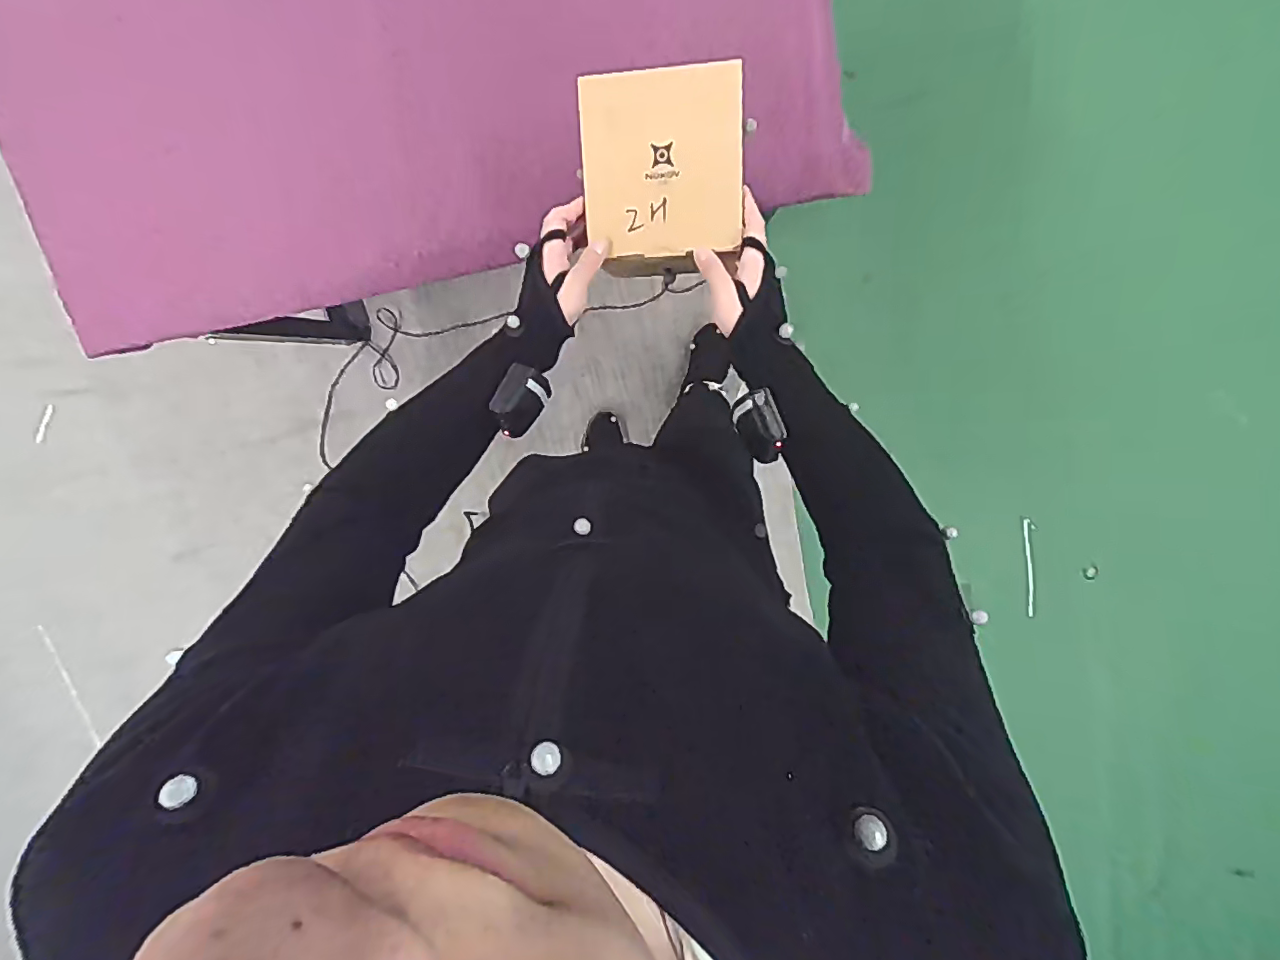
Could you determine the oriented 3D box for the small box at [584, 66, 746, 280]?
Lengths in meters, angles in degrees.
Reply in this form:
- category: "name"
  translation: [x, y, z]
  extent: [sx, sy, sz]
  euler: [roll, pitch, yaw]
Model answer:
- category: "small box"
  translation: [0.033, -0.340, 0.635]
  extent: [0.168, 0.176, 0.179]
  euler: [-1, 104, 7]
